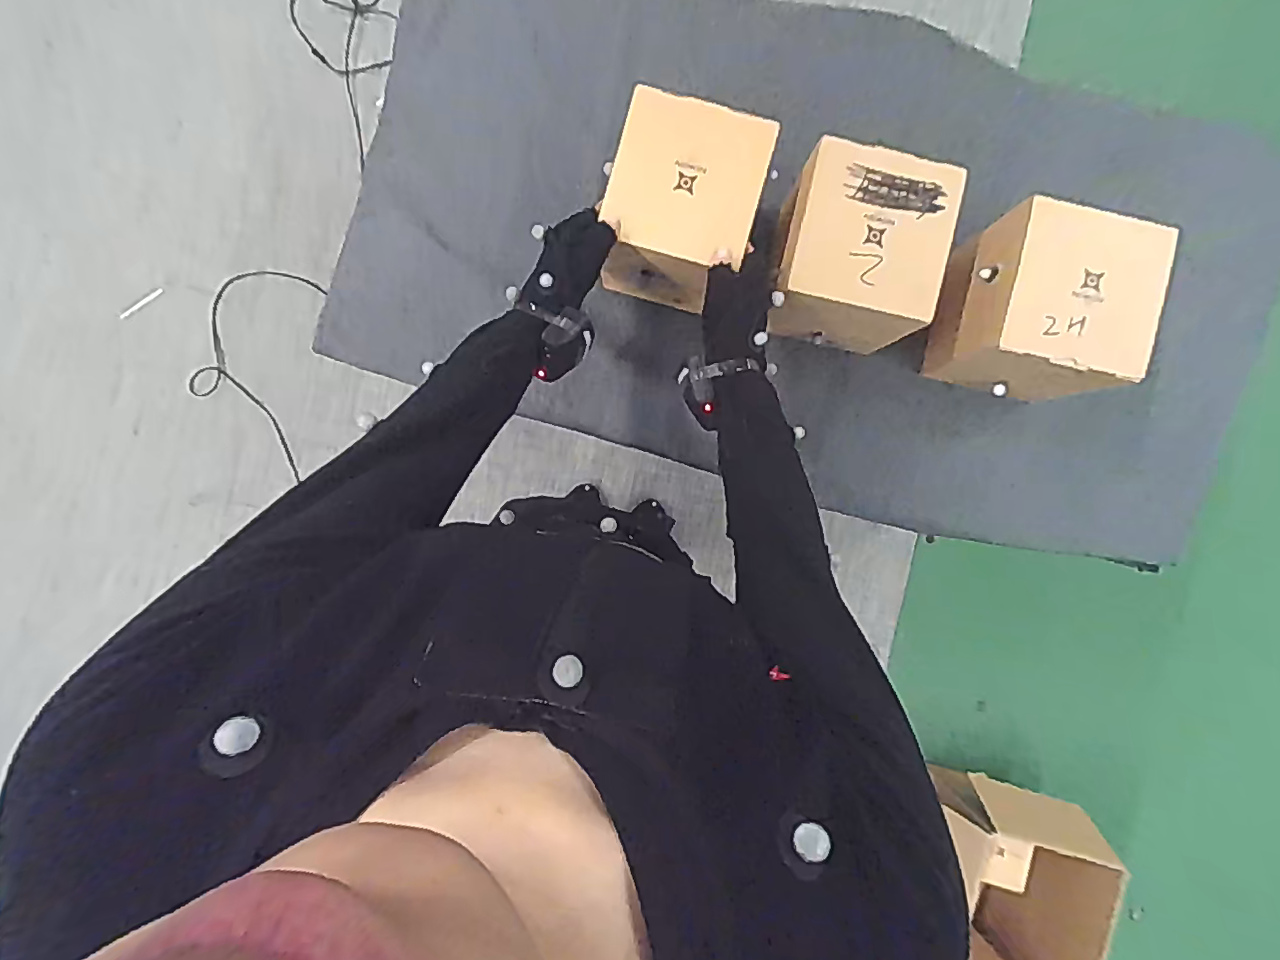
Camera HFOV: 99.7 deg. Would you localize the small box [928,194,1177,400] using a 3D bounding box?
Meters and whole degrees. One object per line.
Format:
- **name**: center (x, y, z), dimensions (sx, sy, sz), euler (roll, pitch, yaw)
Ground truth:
- **small box**: center (0.491, -0.211, 0.672), dimensions (0.168, 0.176, 0.179), euler (14, 90, 1)
